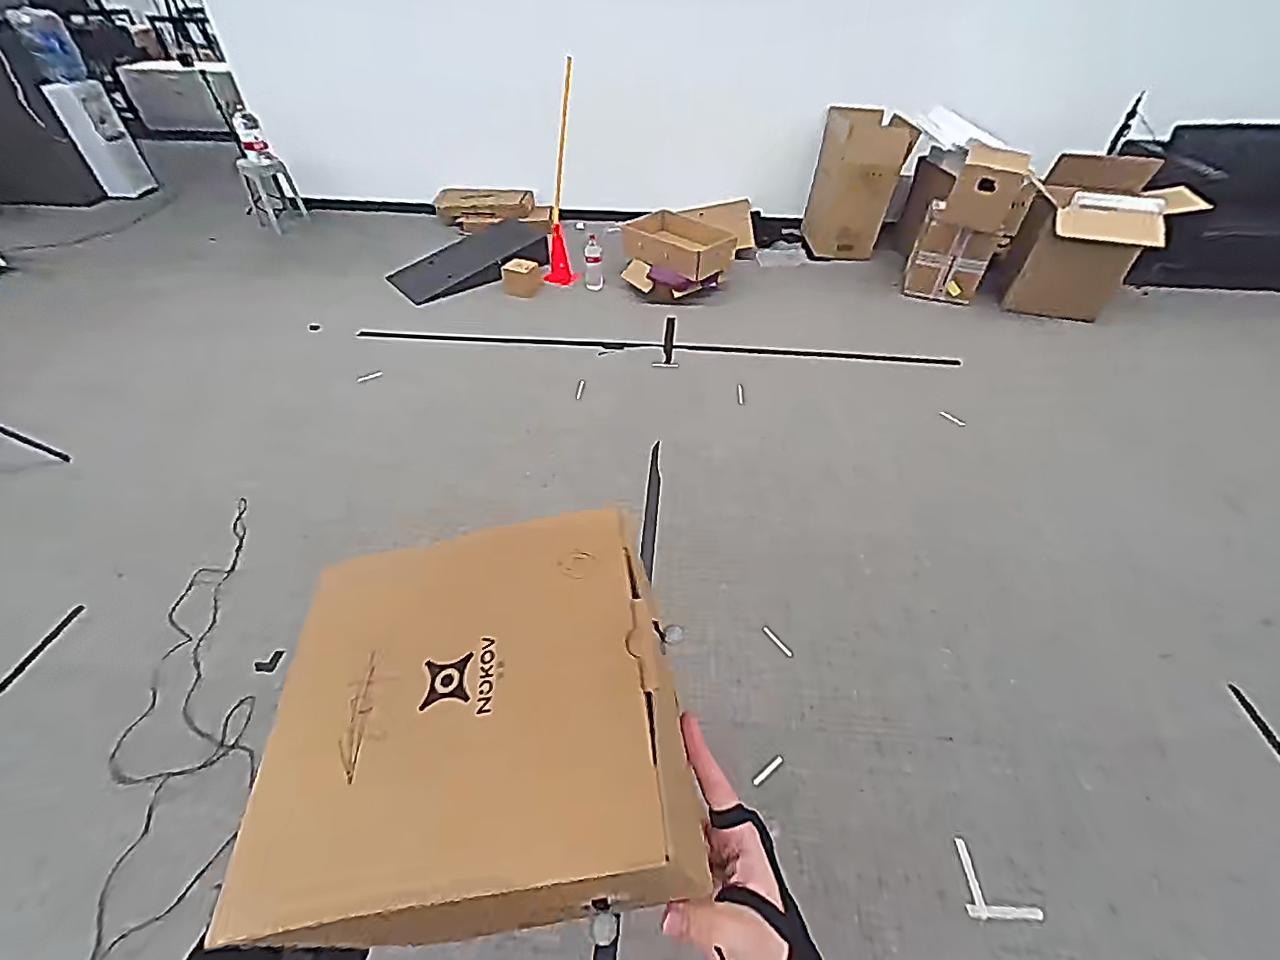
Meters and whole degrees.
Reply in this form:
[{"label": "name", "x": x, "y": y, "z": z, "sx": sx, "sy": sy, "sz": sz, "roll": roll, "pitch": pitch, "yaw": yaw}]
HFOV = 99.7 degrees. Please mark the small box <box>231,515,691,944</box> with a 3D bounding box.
[{"label": "small box", "x": -0.072, "y": 0.150, "z": 0.318, "sx": 0.179, "sy": 0.176, "sz": 0.168, "roll": -15, "pitch": 47, "yaw": 2}]
